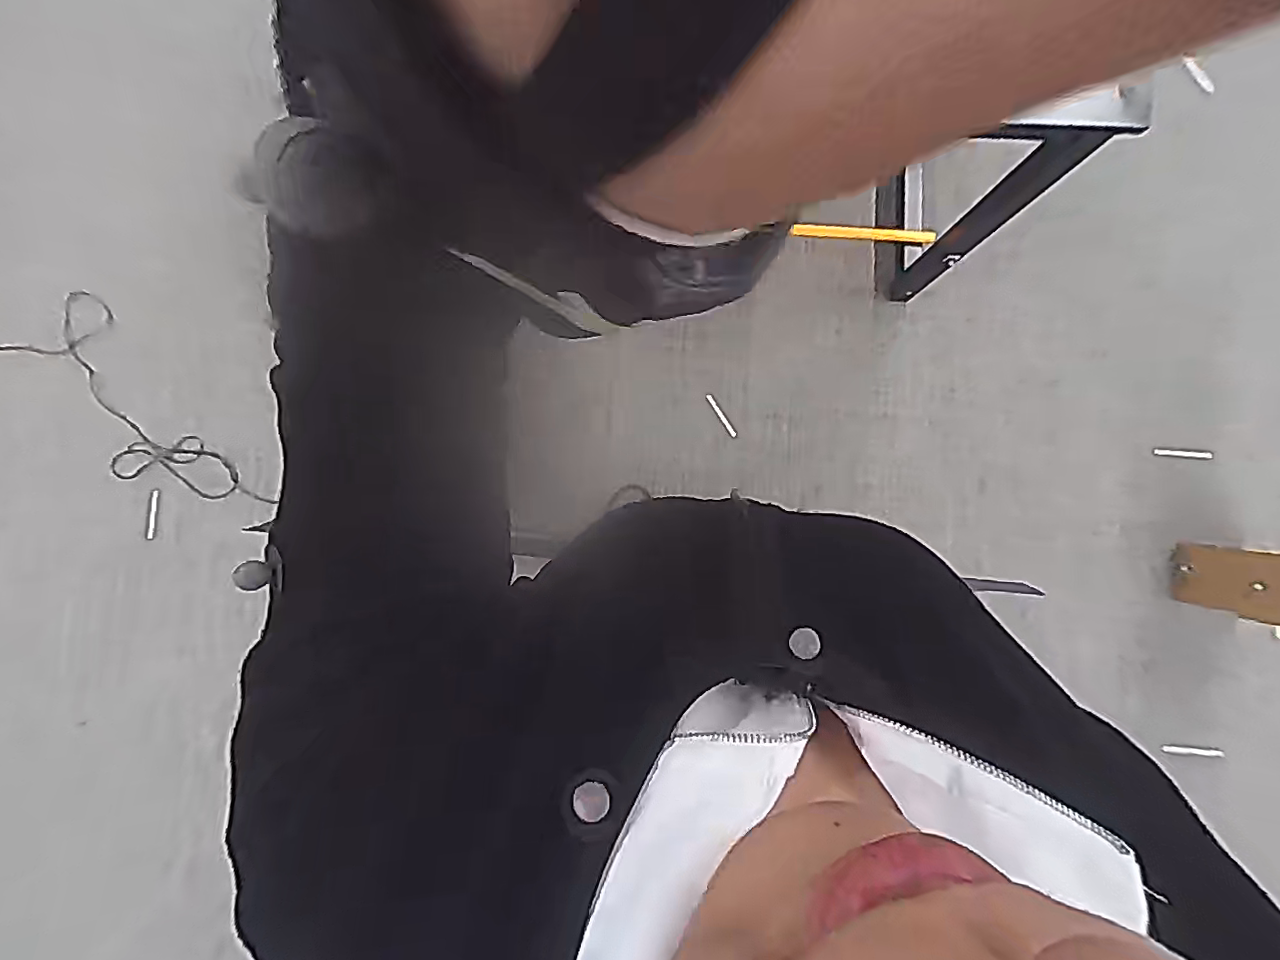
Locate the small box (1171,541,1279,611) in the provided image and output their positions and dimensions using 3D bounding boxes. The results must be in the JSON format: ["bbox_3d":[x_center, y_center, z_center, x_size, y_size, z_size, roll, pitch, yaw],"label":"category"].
[{"bbox_3d":[1.540,0.248,1.393,0.179,0.176,0.168,4,87,2],"label":"small box"}]

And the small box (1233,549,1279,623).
[{"bbox_3d":[1.528,0.248,1.228,0.179,0.176,0.168,4,87,1],"label":"small box"}]
